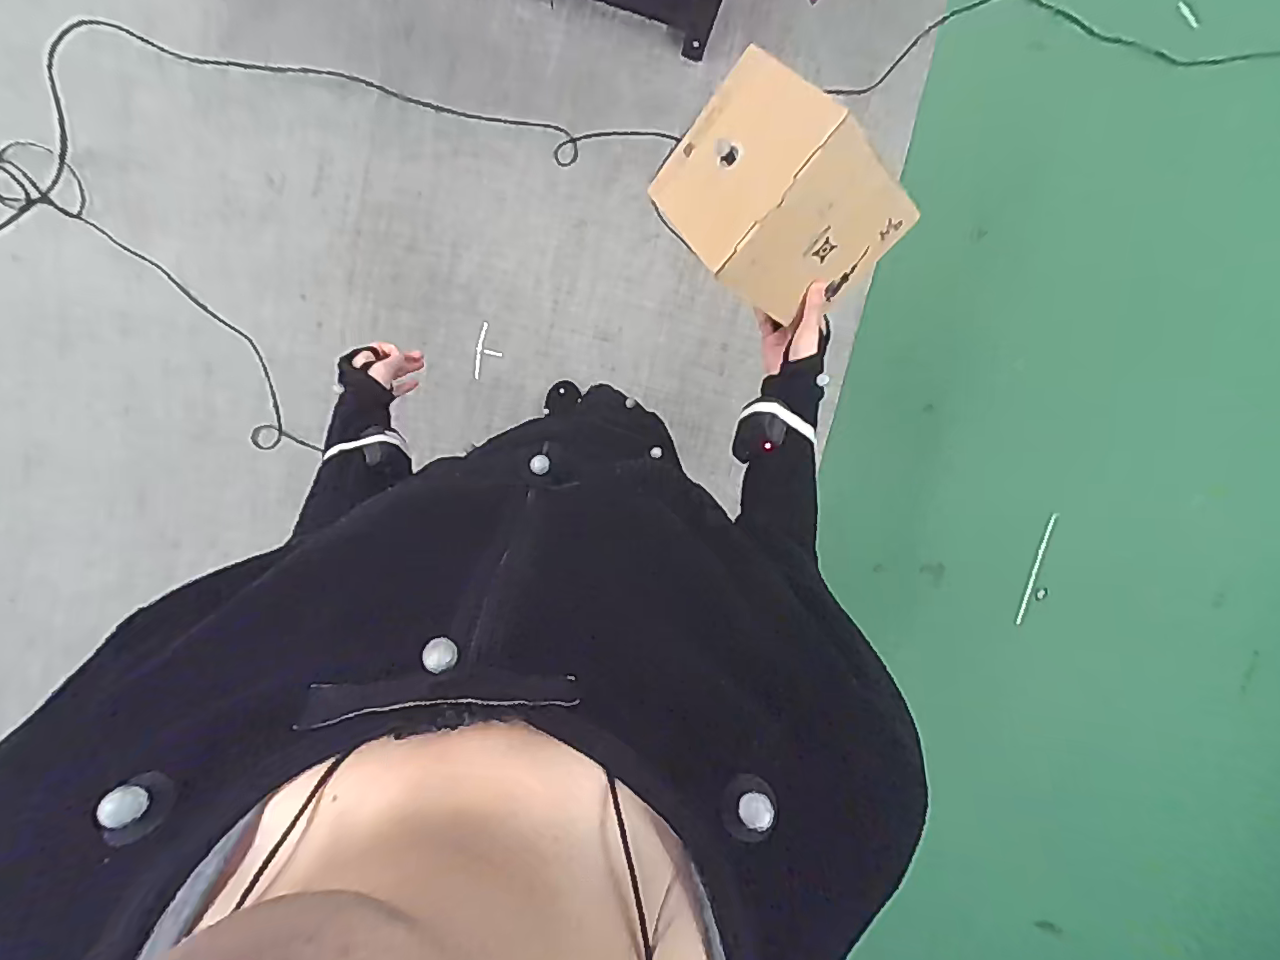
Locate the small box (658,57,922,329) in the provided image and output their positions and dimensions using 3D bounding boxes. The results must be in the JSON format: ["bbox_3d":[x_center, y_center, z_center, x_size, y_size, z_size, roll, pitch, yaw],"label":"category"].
[{"bbox_3d":[0.149,-0.298,0.571,0.179,0.176,0.168,12,132,-44],"label":"small box"}]
